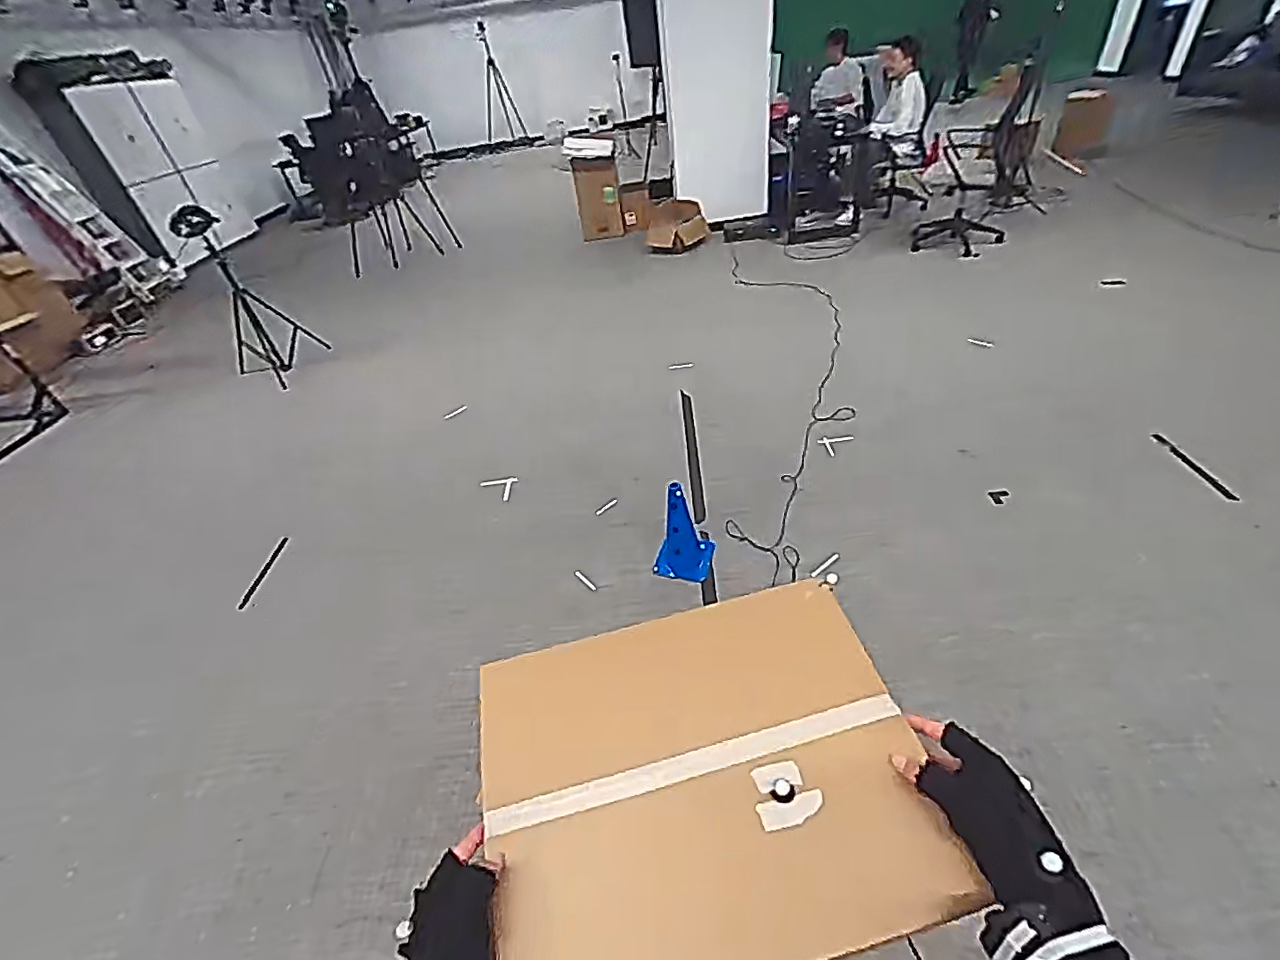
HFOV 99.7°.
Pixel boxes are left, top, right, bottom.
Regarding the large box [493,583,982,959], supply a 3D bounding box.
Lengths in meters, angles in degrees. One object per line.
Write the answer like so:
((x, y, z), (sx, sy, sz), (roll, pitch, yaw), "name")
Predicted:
((0.072, 0.377, 0.632), (0.408, 0.320, 0.320), (-13, 47, -5), "large box")

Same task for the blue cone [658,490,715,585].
((0.149, 0.181, 1.915), (0.193, 0.380, 0.192), (6, 42, 21), "blue cone")
